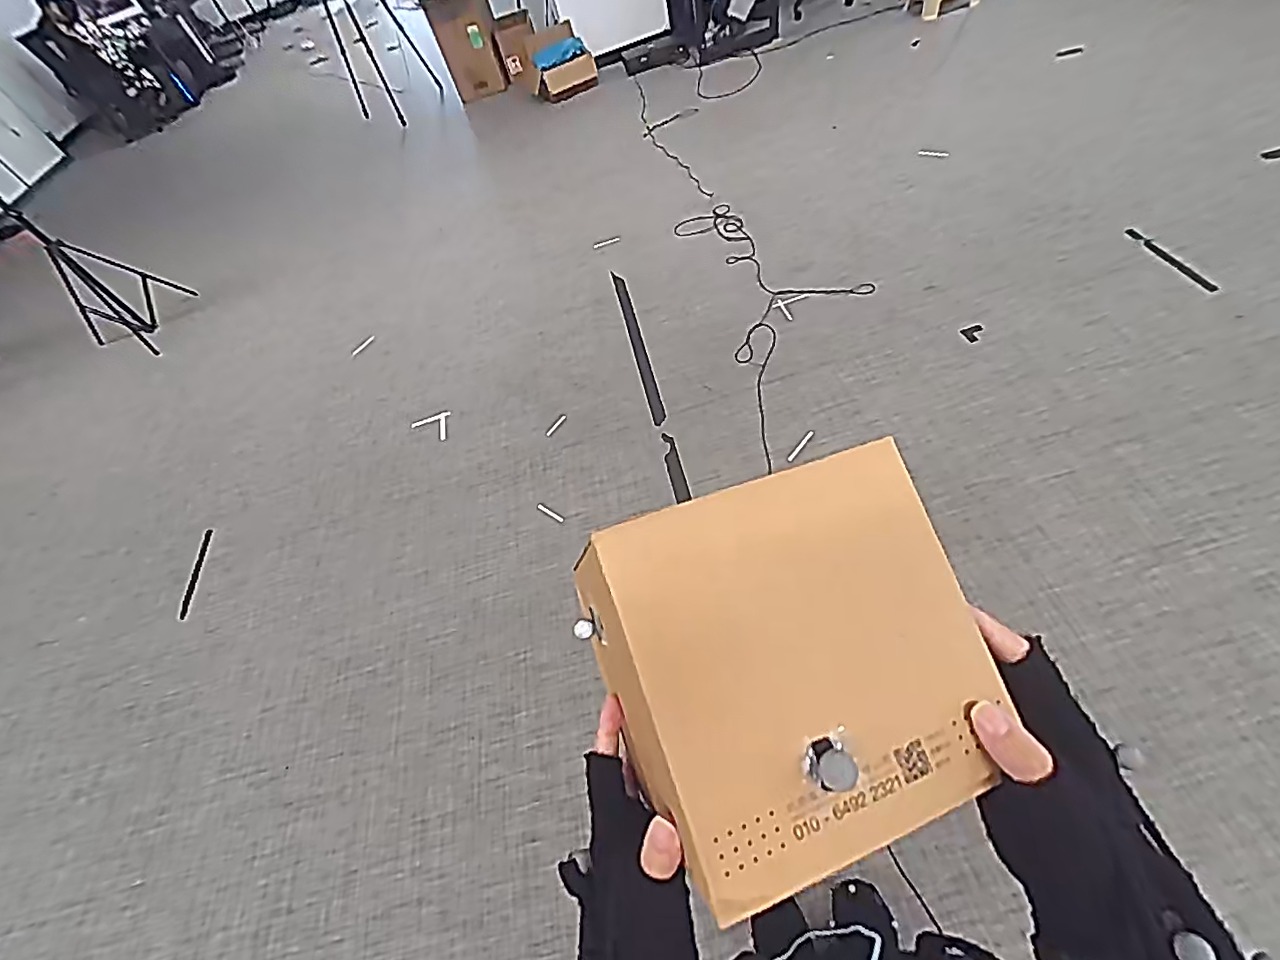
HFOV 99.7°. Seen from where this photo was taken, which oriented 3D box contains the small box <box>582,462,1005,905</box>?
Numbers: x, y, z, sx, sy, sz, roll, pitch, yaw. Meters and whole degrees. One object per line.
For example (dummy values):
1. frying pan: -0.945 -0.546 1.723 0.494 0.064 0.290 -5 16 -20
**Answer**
1. small box: 0.069 0.110 0.338 0.168 0.179 0.176 -18 79 -14
